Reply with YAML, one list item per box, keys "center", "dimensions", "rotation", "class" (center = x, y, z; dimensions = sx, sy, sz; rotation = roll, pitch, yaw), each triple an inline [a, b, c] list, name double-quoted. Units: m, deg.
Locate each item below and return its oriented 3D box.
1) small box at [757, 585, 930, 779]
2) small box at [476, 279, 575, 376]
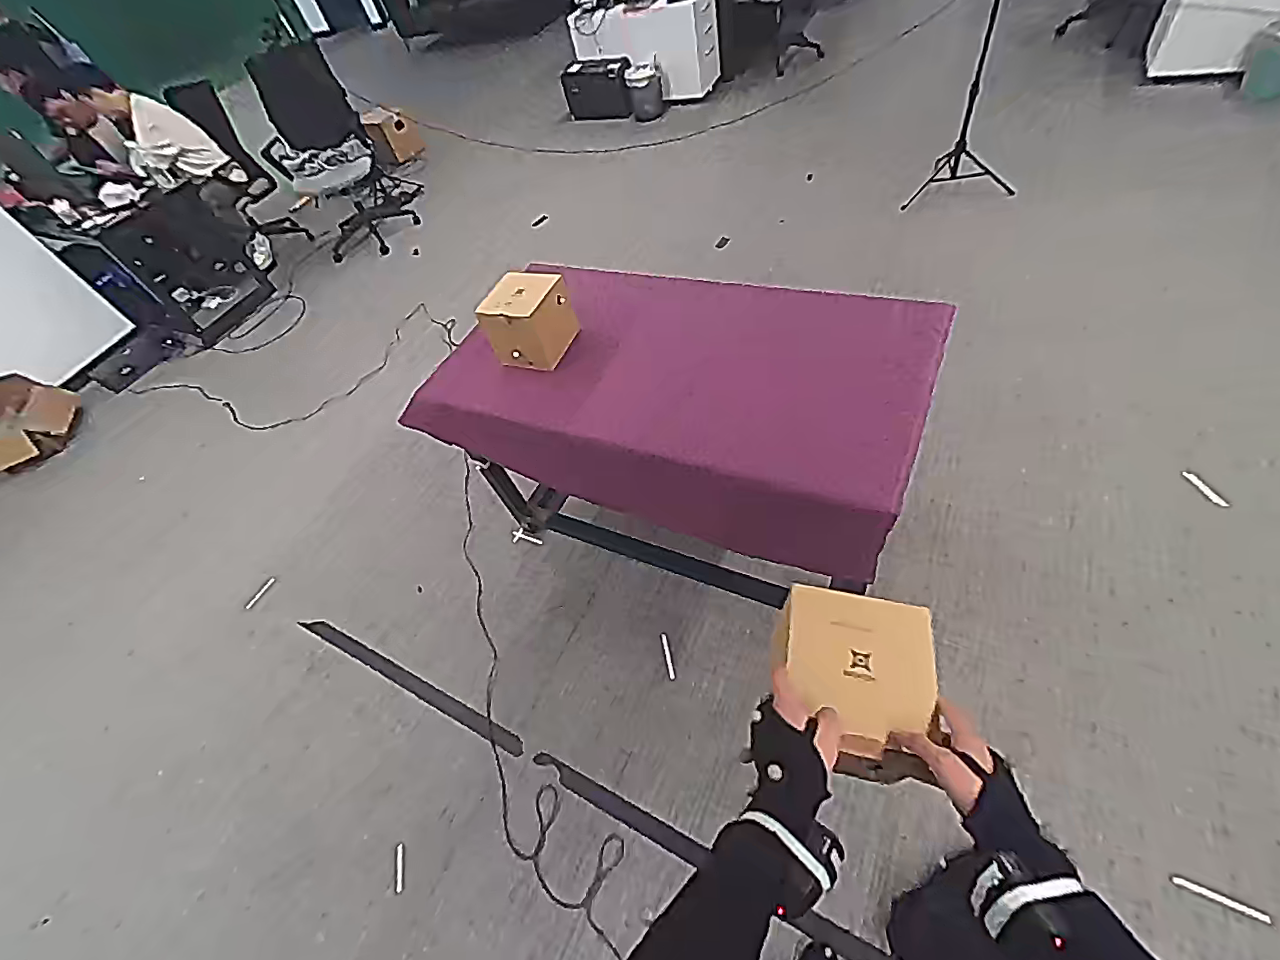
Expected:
- center: [0.244, 0.259, 0.684]
  dimensions: [0.168, 0.176, 0.179]
  rotation: [8, 54, 9]
  class: "small box"
- center: [-0.285, -0.397, 1.404]
  dimensions: [0.168, 0.176, 0.179]
  rotation: [11, 57, 23]
  class: "small box"
